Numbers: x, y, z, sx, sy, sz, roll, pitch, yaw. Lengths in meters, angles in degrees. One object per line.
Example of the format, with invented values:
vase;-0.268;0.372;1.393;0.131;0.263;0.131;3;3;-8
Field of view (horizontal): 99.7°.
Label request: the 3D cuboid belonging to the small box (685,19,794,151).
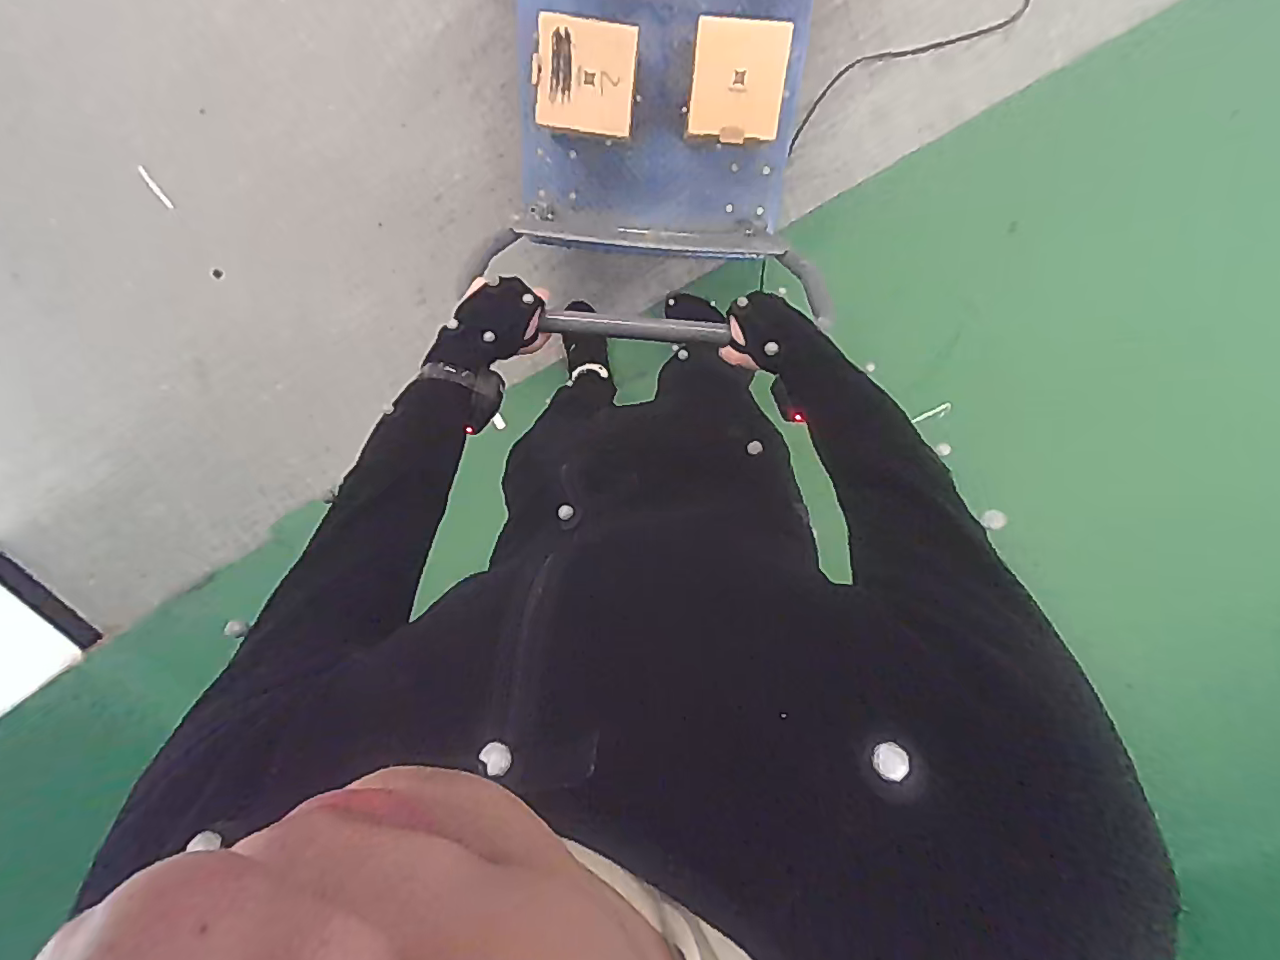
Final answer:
small box;0.179;-0.746;1.038;0.168;0.176;0.179;4;119;-1
